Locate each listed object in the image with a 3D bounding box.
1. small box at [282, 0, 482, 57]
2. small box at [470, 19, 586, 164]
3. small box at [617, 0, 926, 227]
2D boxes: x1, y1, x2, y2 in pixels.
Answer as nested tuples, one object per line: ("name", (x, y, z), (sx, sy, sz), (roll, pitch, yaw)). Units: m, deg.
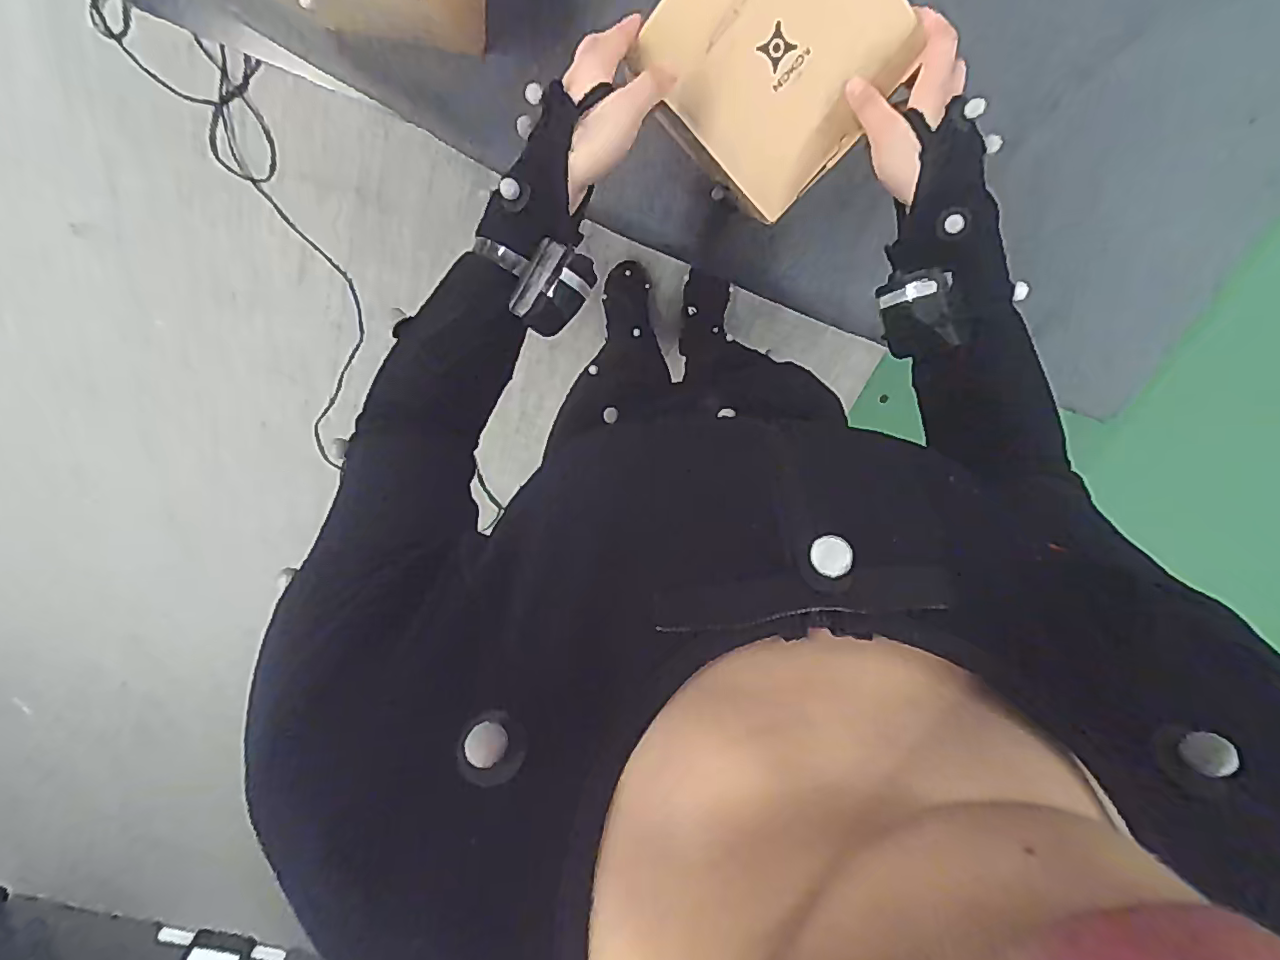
("small box", (-0.227, -0.475, 0.426), (0.168, 0.176, 0.179), (9, 116, -2))
("small box", (-0.219, -0.769, 1.098), (0.168, 0.176, 0.179), (24, 114, -10))
("small box", (0.099, -0.356, 0.473), (0.179, 0.176, 0.168), (38, 112, -19))
